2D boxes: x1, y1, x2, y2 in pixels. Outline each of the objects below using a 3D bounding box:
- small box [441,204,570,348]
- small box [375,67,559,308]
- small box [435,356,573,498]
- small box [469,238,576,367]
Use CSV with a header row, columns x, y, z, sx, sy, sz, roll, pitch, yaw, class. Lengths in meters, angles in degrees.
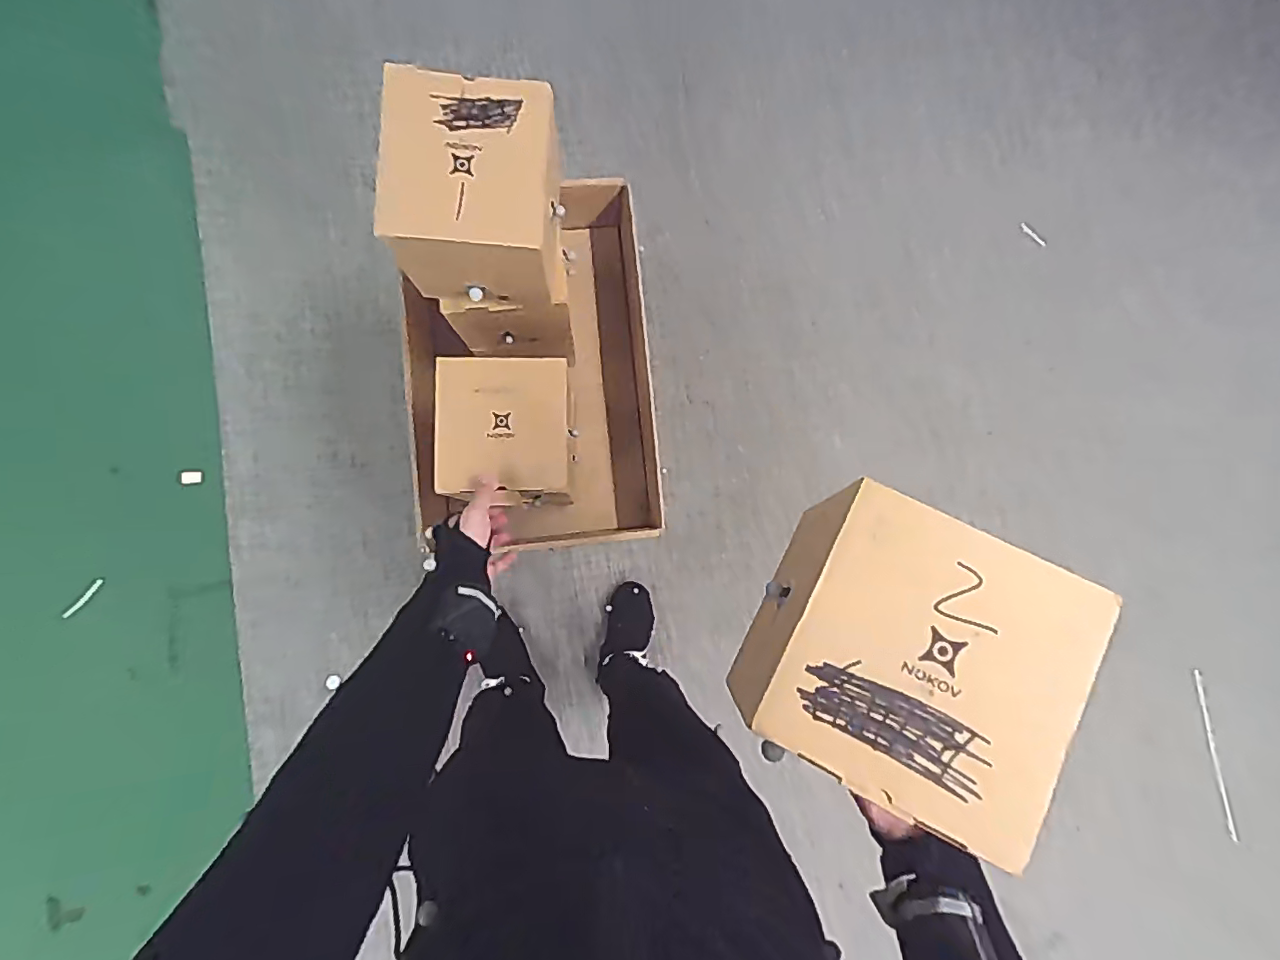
x,y,z,sx,sy,sz,roll,pitch,yaw,class
-0.193,-0.307,0.789,0.168,0.176,0.179,-7,88,-6,small box
-0.184,-0.320,0.625,0.168,0.176,0.179,3,88,-5,small box
-0.181,-0.065,0.766,0.168,0.176,0.179,0,84,-5,small box
-0.204,-0.300,0.949,0.168,0.176,0.179,-5,89,-4,small box
